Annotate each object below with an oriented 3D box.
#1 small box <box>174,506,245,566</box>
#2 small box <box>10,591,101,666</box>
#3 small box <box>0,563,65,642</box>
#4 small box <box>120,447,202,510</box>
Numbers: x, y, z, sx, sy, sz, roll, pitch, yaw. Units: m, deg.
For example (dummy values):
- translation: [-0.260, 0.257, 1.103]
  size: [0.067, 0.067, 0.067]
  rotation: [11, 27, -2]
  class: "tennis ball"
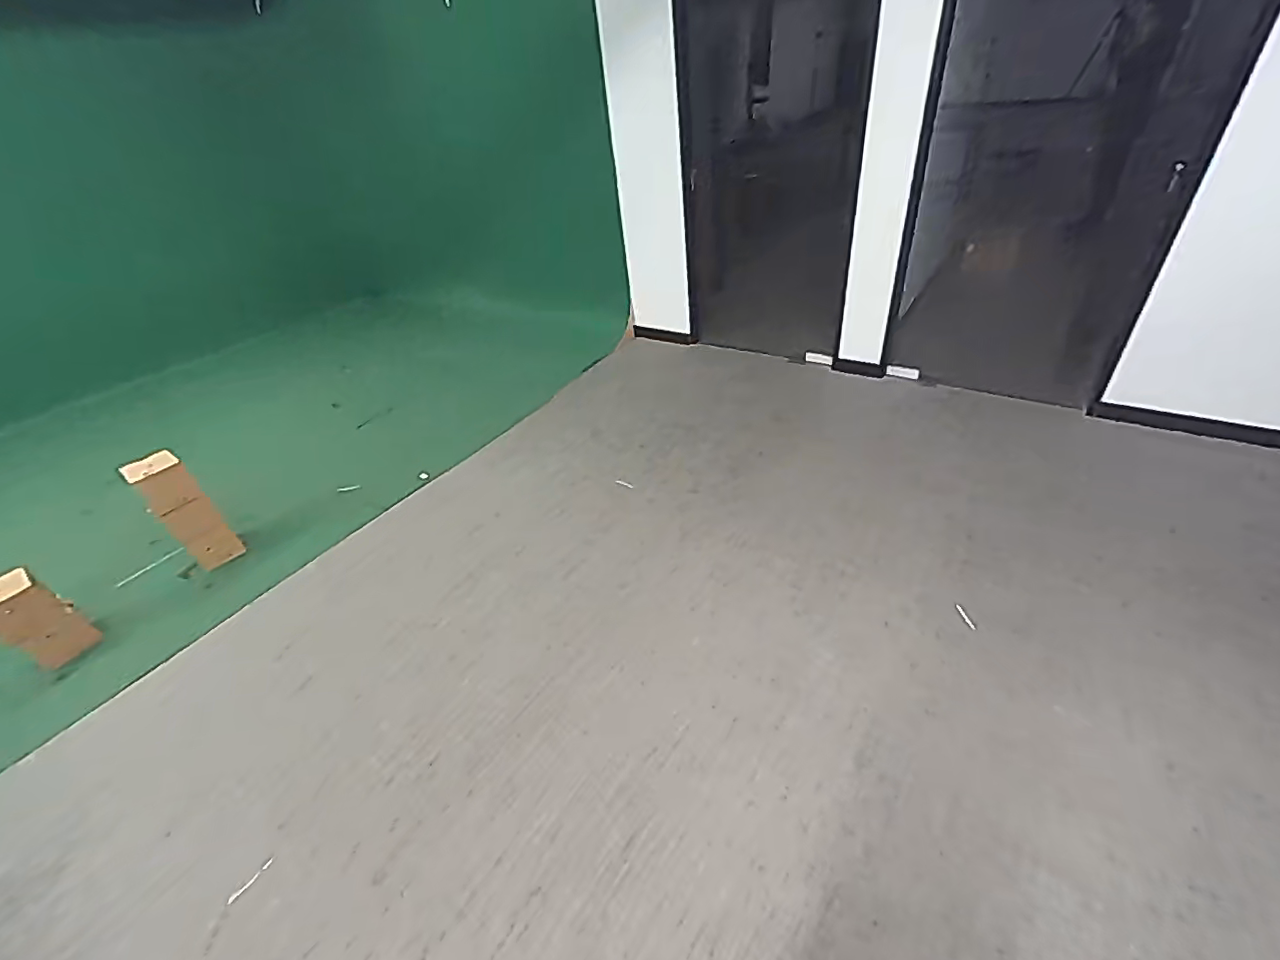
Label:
- translation: [-1.860, 0.249, 2.343]
  size: [0.179, 0.176, 0.168]
  rotation: [26, 48, 36]
  class: "small box"
- translation: [-2.167, 0.551, 1.995]
  size: [0.168, 0.176, 0.179]
  rotation: [20, 45, 29]
  class: "small box"
- translation: [-2.189, 0.431, 1.888]
  size: [0.168, 0.176, 0.179]
  rotation: [22, 45, 31]
  class: "small box"
- translation: [-1.886, -0.004, 2.134]
  size: [0.179, 0.176, 0.168]
  rotation: [22, 45, 33]
  class: "small box"
